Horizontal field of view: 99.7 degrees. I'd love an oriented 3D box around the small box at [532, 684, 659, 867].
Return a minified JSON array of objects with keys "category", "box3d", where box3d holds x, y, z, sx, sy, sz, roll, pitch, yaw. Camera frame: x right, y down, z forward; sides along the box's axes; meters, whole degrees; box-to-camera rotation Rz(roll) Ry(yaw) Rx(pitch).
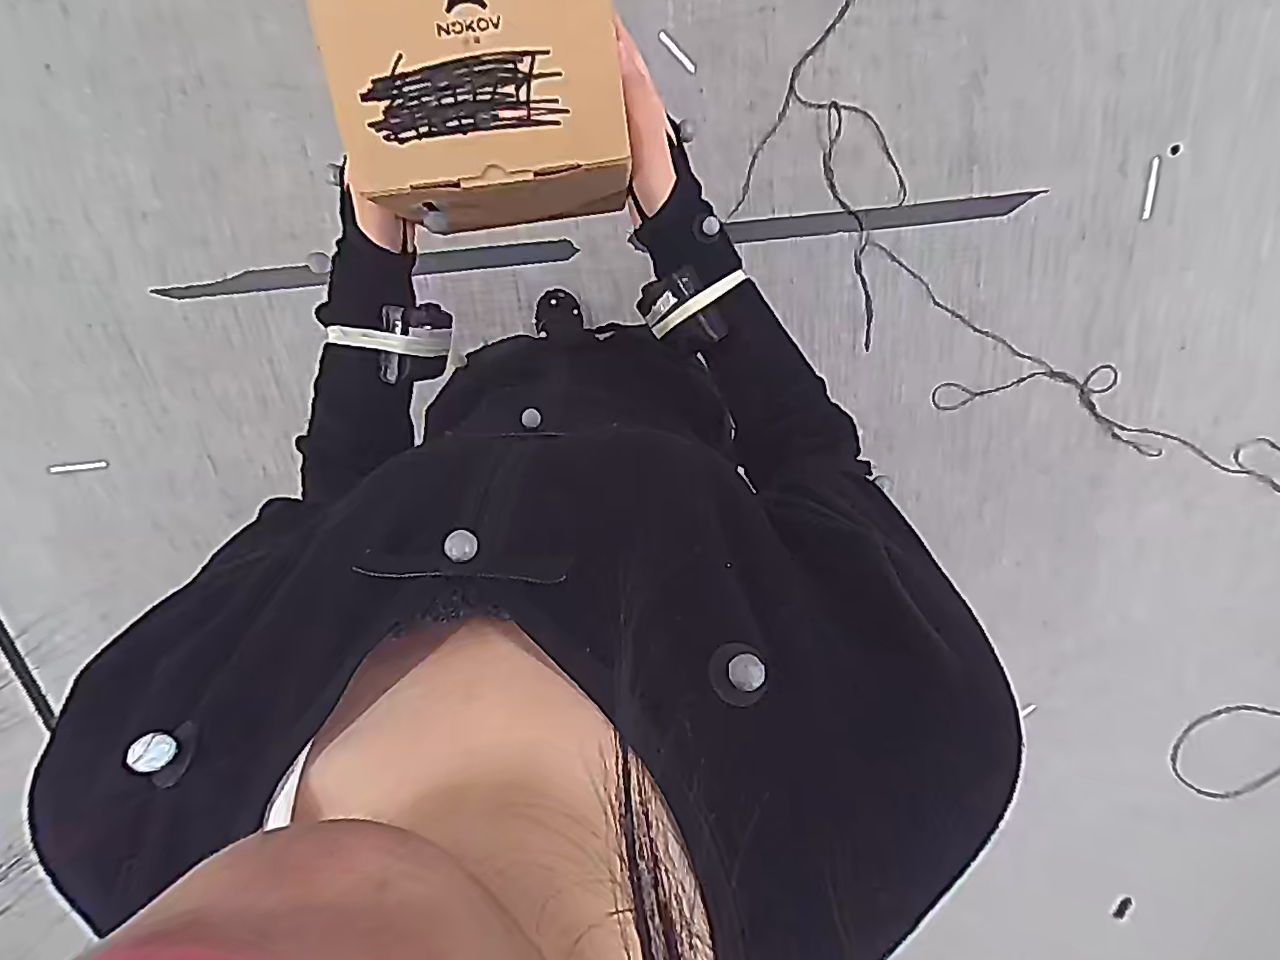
[{"category":"small box","box3d":[-0.061,0.440,0.821,0.168,0.176,0.179,-5,109,-2]}]
